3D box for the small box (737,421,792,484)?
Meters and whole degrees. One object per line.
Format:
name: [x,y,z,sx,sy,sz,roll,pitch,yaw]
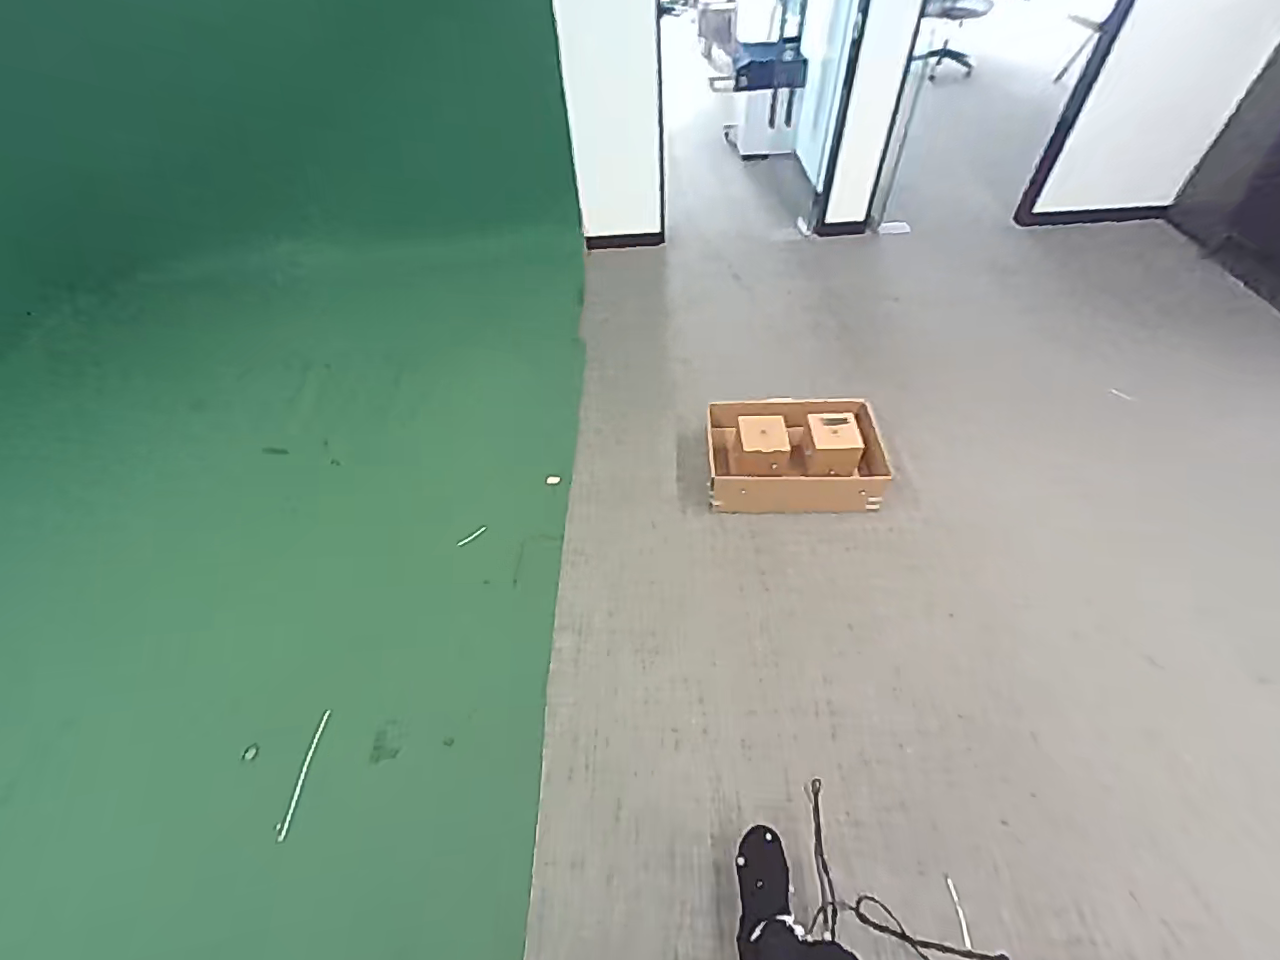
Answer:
small box: [0.454,-0.099,1.994,0.168,0.176,0.179,0,49,1]
